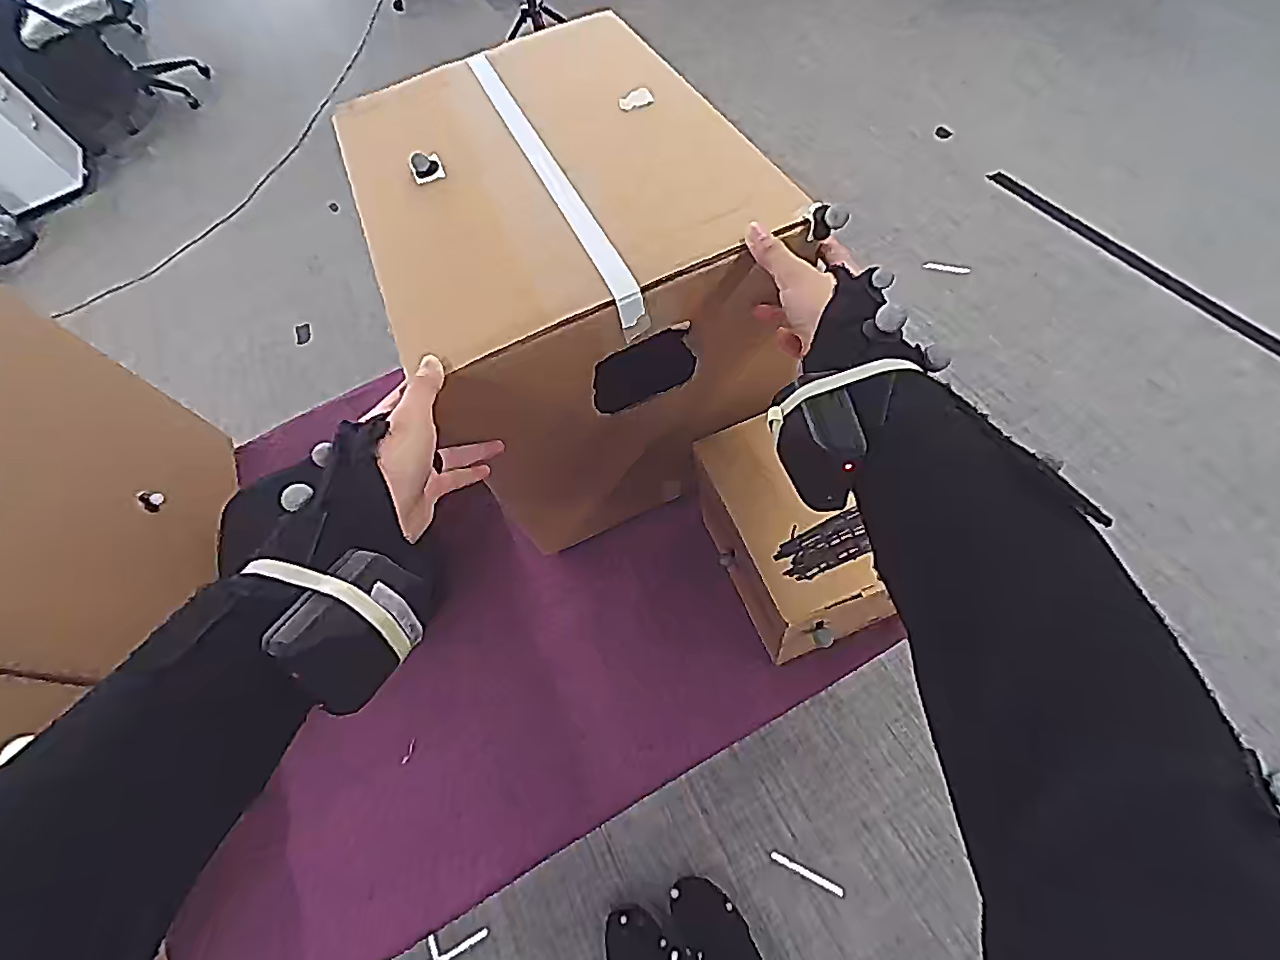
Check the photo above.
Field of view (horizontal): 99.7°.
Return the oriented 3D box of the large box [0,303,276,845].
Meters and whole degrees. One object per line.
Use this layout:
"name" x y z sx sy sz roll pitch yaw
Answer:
"large box" -0.649 0.102 0.548 0.320 0.320 0.408 -29 64 -6
